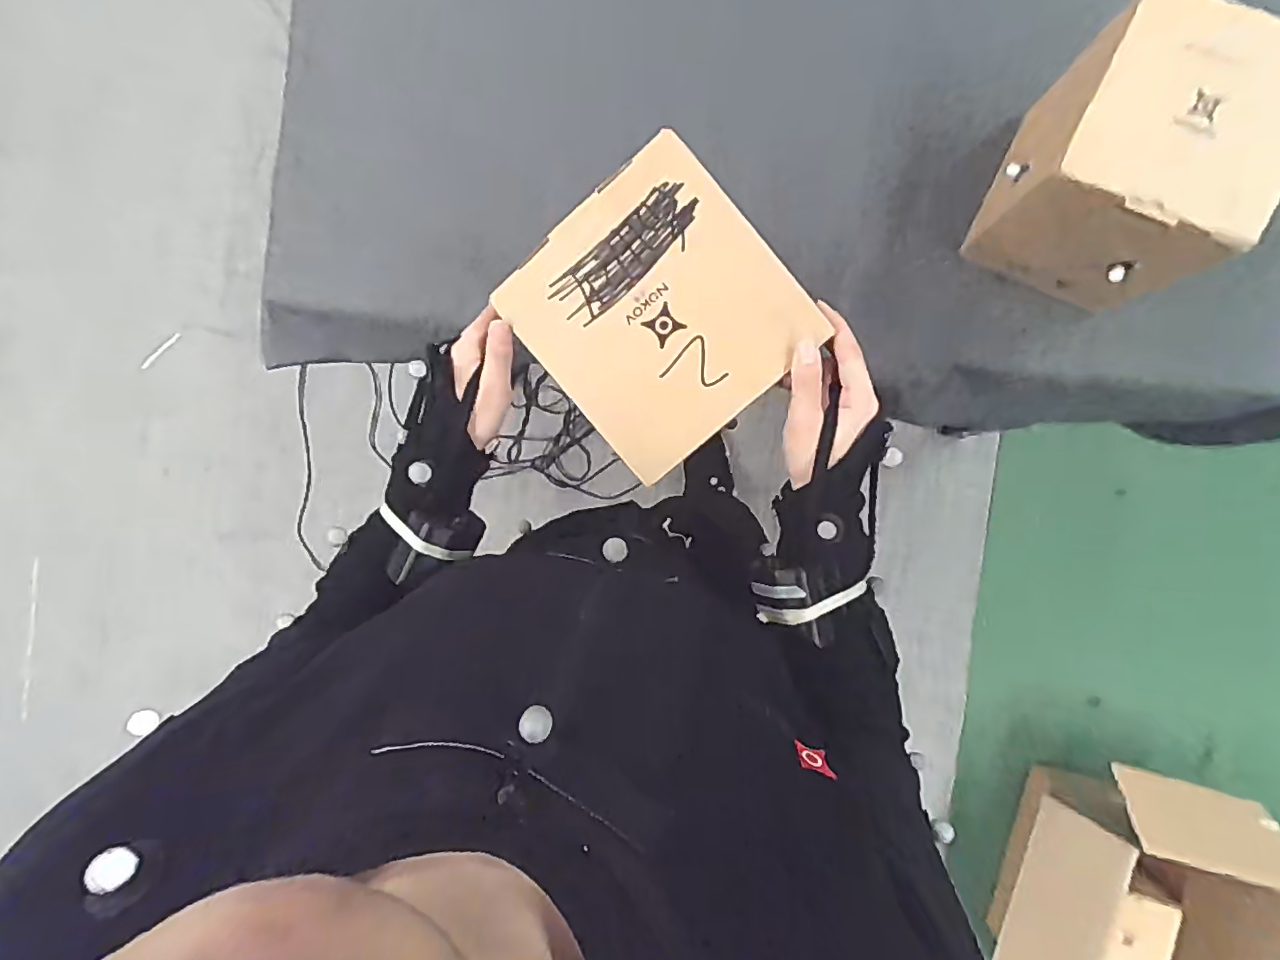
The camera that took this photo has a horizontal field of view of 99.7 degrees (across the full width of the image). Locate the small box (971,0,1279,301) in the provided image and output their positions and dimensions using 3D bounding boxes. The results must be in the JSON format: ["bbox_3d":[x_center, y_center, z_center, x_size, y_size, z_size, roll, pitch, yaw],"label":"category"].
[{"bbox_3d":[0.454,-0.297,0.508,0.168,0.176,0.179,25,91,4],"label":"small box"}]
